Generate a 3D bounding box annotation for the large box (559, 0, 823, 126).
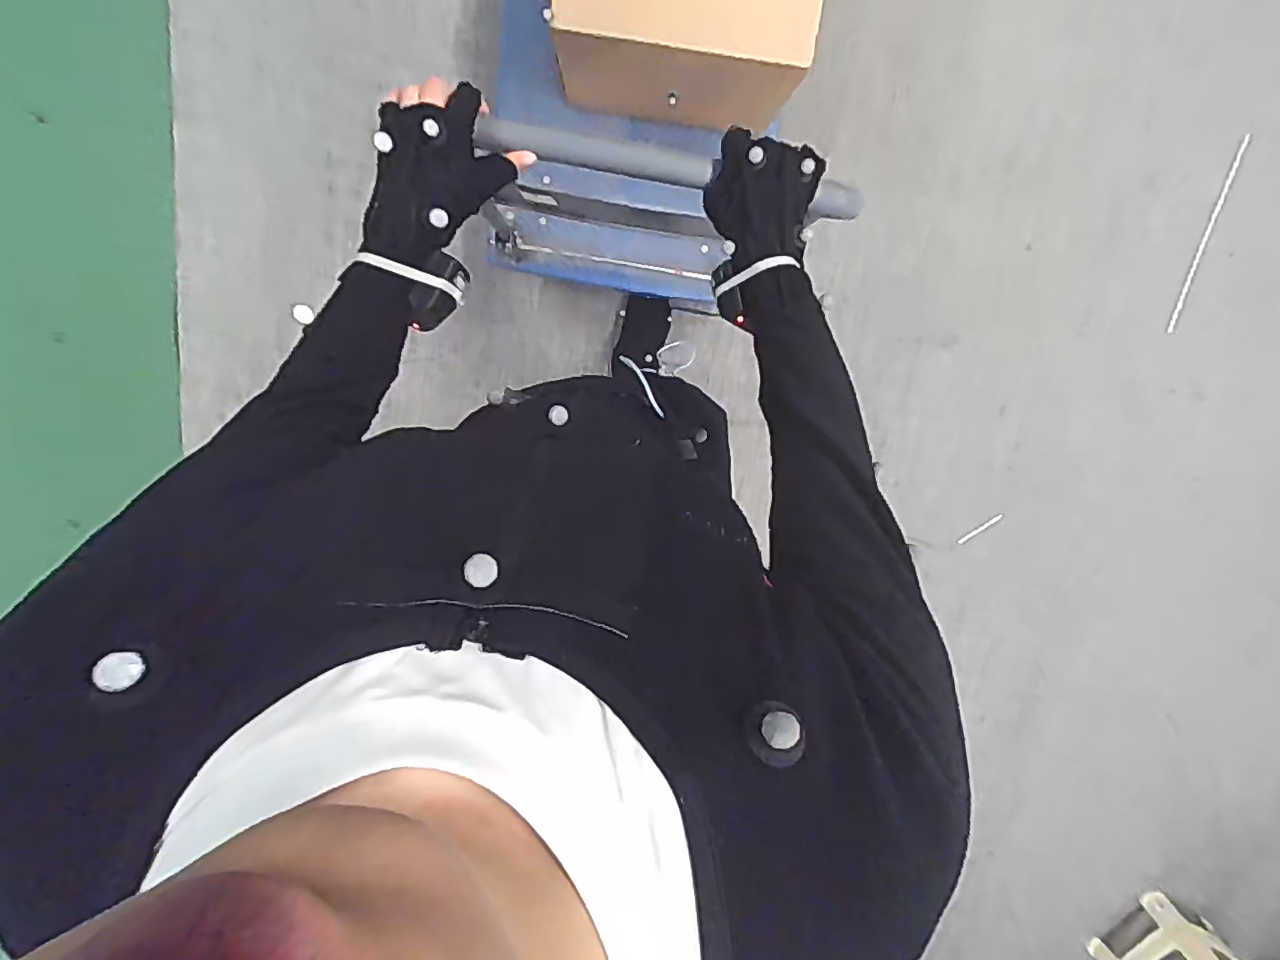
[{"bbox_3d":[0.087,-0.853,0.936,0.408,0.320,0.320,6,105,-2],"label":"large box"}]
